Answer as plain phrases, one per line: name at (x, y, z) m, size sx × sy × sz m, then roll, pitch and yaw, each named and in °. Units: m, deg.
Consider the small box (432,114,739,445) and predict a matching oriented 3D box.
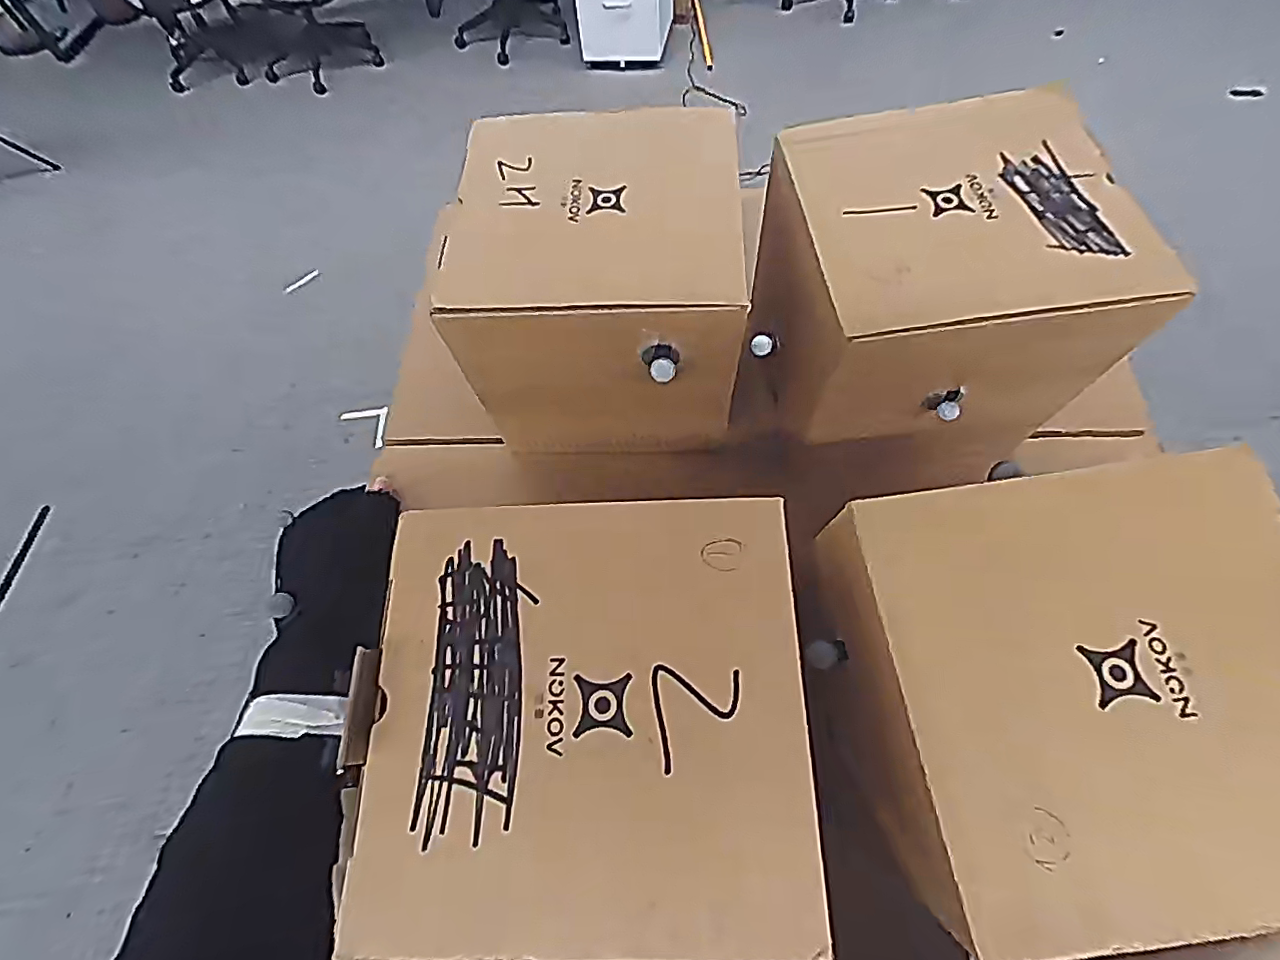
small box at (-0.024, -0.136, 0.406) m, size 0.179 × 0.176 × 0.168 m, roll 0°, pitch 65°, yaw 5°
